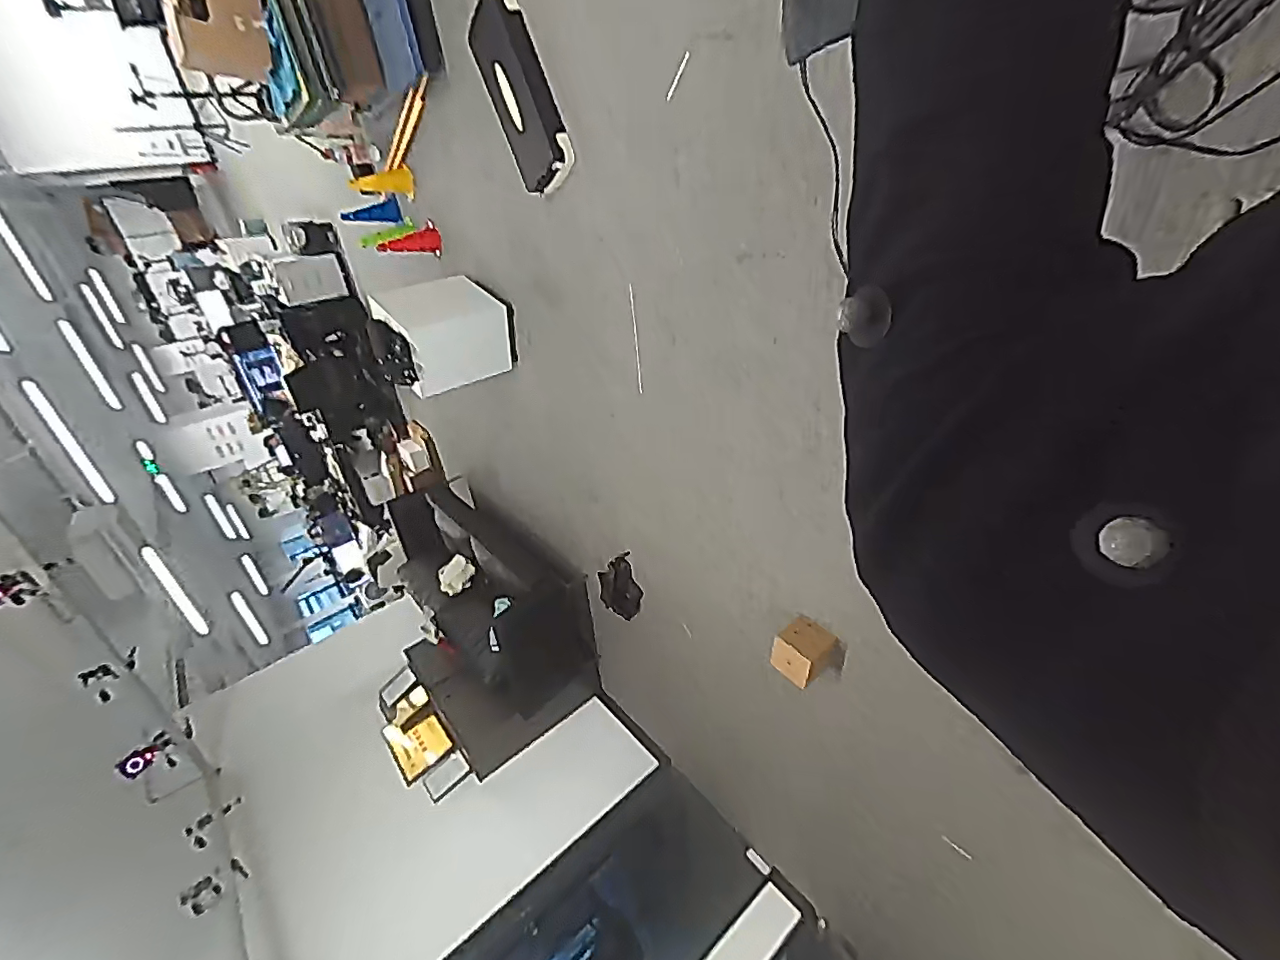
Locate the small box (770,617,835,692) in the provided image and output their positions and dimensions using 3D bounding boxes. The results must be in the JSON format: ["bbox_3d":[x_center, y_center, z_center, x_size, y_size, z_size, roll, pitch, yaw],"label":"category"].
[{"bbox_3d":[0.629,0.666,2.084,0.168,0.176,0.179,34,139,41],"label":"small box"}]
